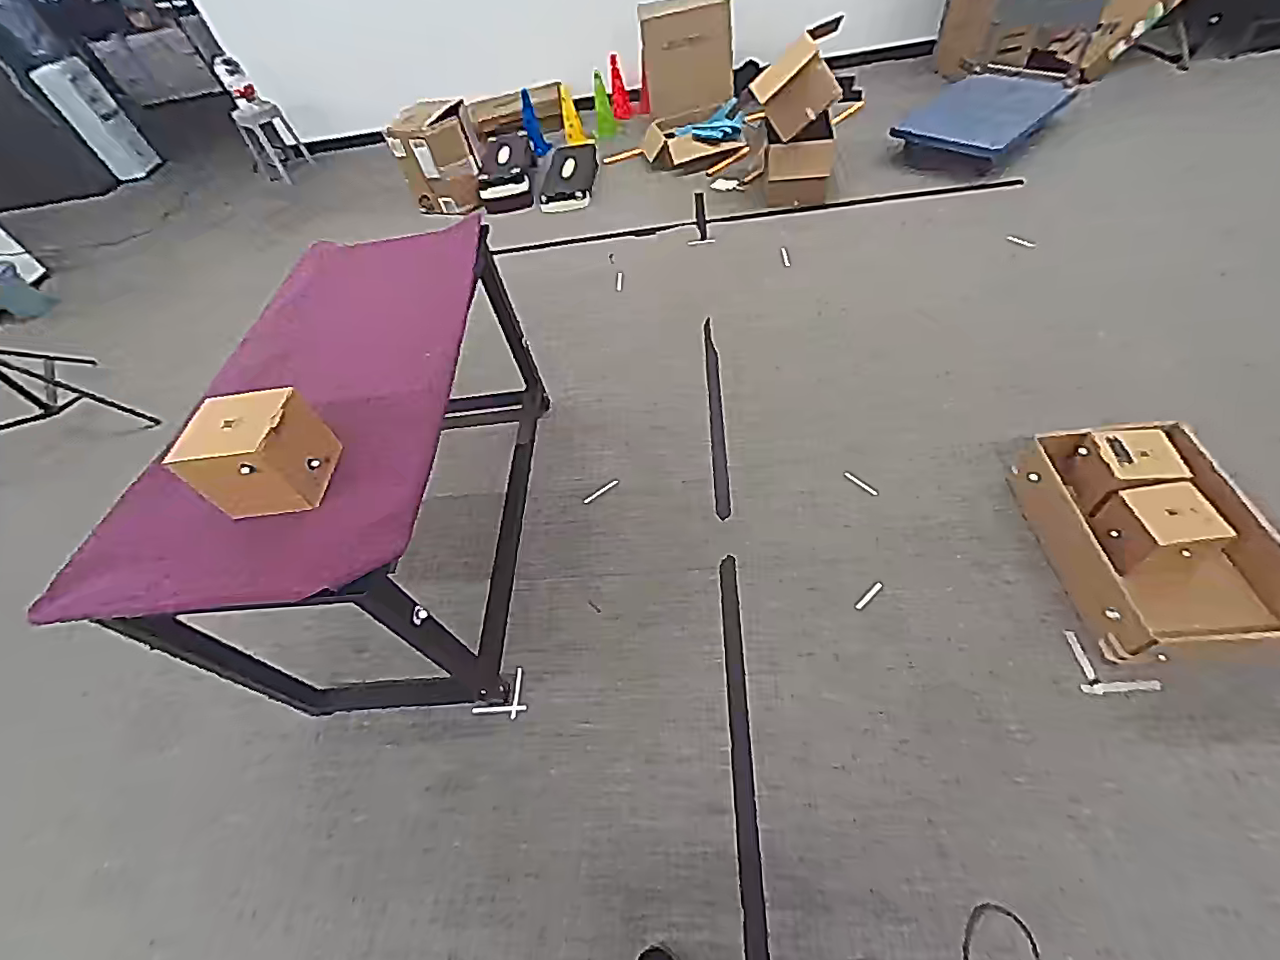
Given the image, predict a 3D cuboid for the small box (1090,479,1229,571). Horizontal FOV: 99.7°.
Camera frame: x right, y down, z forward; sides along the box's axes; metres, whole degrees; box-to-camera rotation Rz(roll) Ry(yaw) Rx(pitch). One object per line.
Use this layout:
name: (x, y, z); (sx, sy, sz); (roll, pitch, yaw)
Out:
small box: (1.318, 0.122, 1.395); (0.179, 0.176, 0.168); (-9, 52, 4)

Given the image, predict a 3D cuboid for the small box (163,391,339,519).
small box: (-0.712, -0.042, 1.014); (0.179, 0.176, 0.168); (-7, 50, 4)
